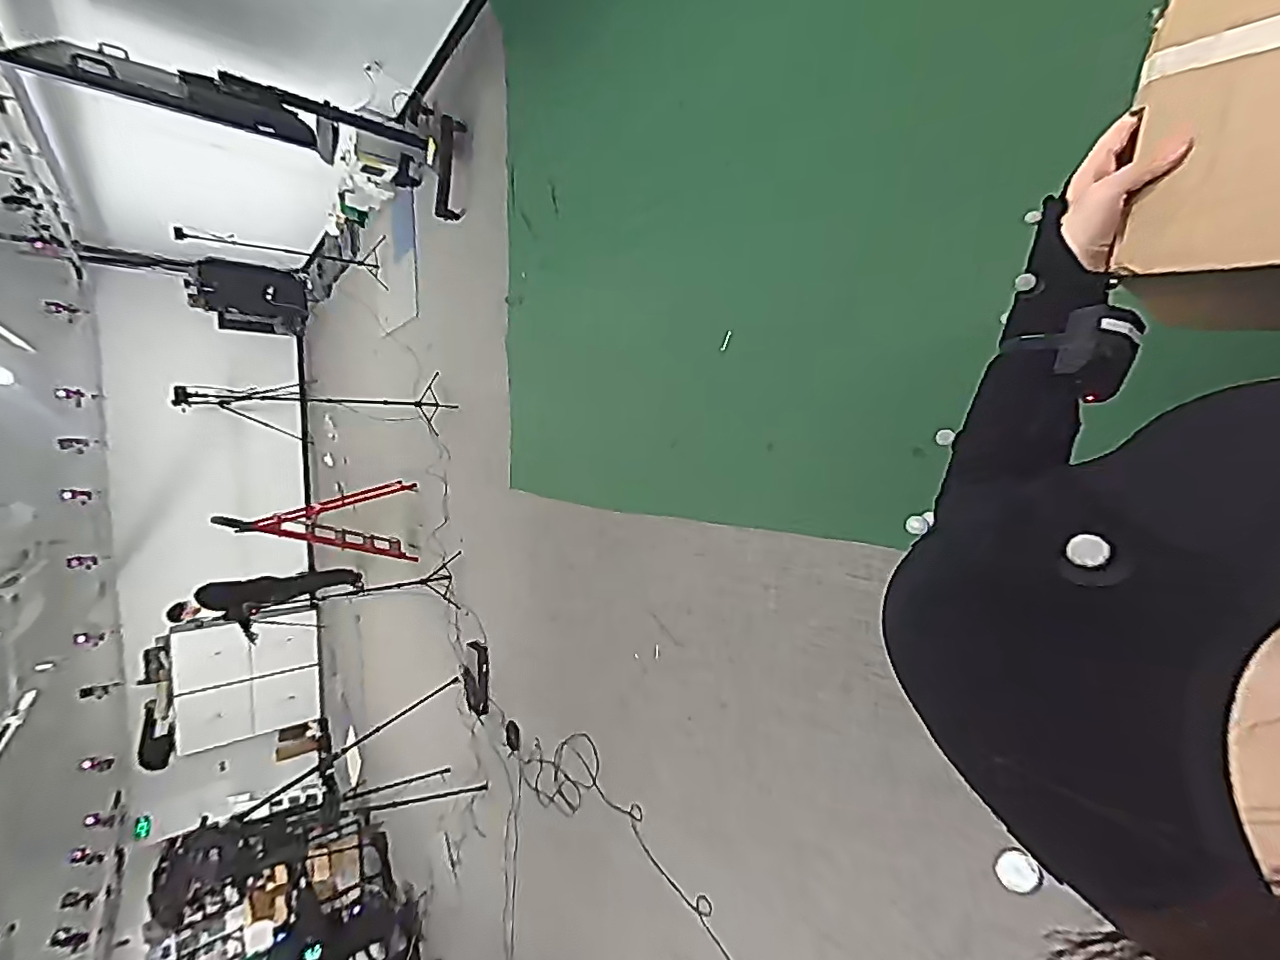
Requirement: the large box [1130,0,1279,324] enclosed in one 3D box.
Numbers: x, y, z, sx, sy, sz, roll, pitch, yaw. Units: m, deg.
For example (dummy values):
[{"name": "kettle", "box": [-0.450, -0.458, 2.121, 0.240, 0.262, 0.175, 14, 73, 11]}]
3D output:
[{"name": "large box", "box": [0.648, -0.296, 0.369, 0.408, 0.320, 0.320, 15, 104, 47]}]
